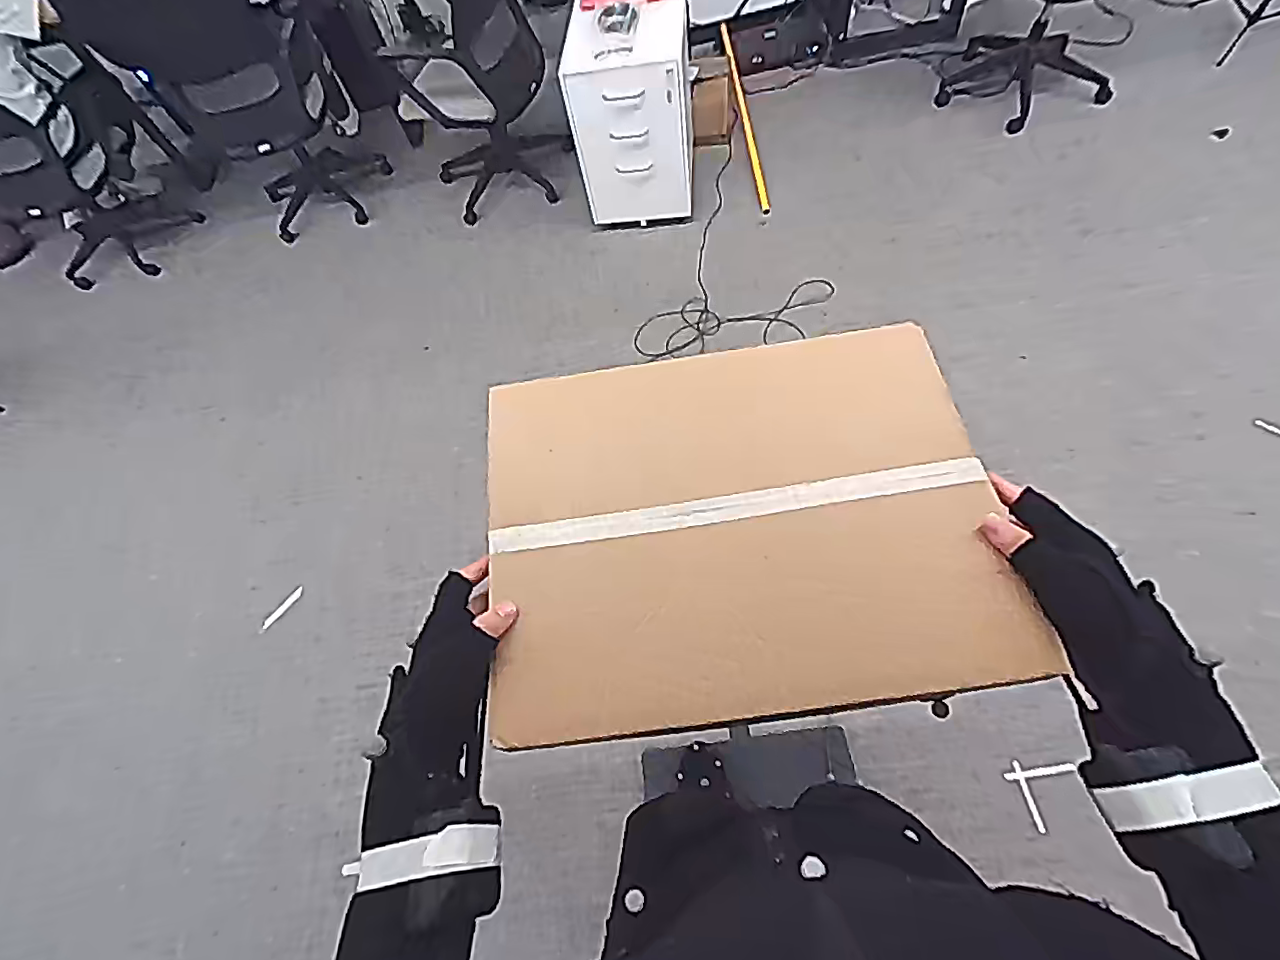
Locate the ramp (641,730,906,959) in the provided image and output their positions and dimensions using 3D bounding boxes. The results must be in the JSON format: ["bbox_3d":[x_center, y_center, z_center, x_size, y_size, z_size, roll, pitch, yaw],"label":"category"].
[{"bbox_3d":[0.280,1.029,1.012,0.509,0.206,0.991,-11,61,3],"label":"ramp"}]

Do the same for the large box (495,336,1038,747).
[{"bbox_3d":[0.089,0.089,0.589,0.408,0.320,0.320,-8,64,1],"label":"large box"}]
